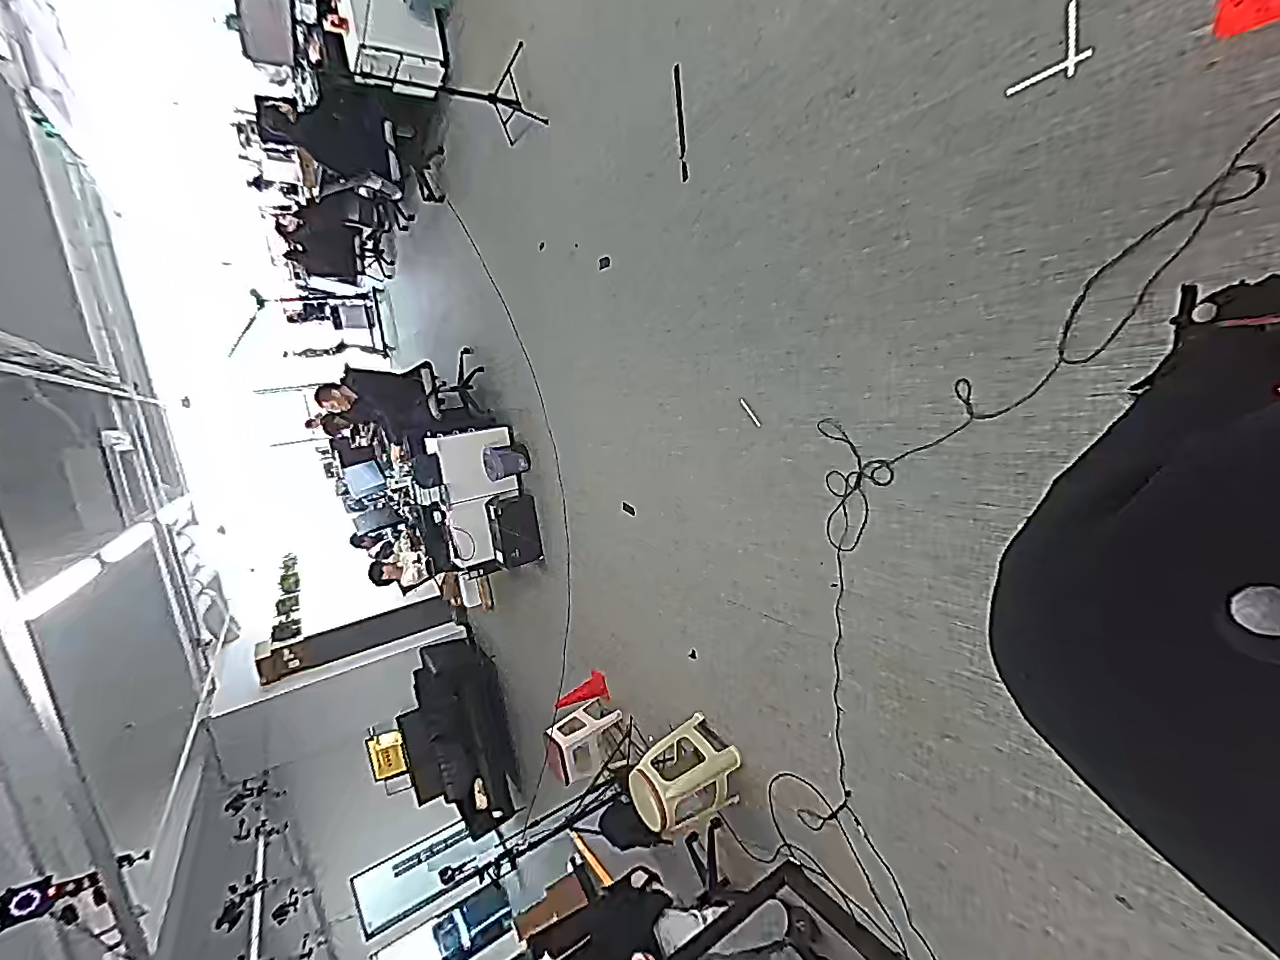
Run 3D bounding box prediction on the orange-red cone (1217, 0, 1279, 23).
[{"bbox_3d":[0.896,-0.821,0.741,0.199,0.360,0.198,18,116,56],"label":"orange-red cone"}]
